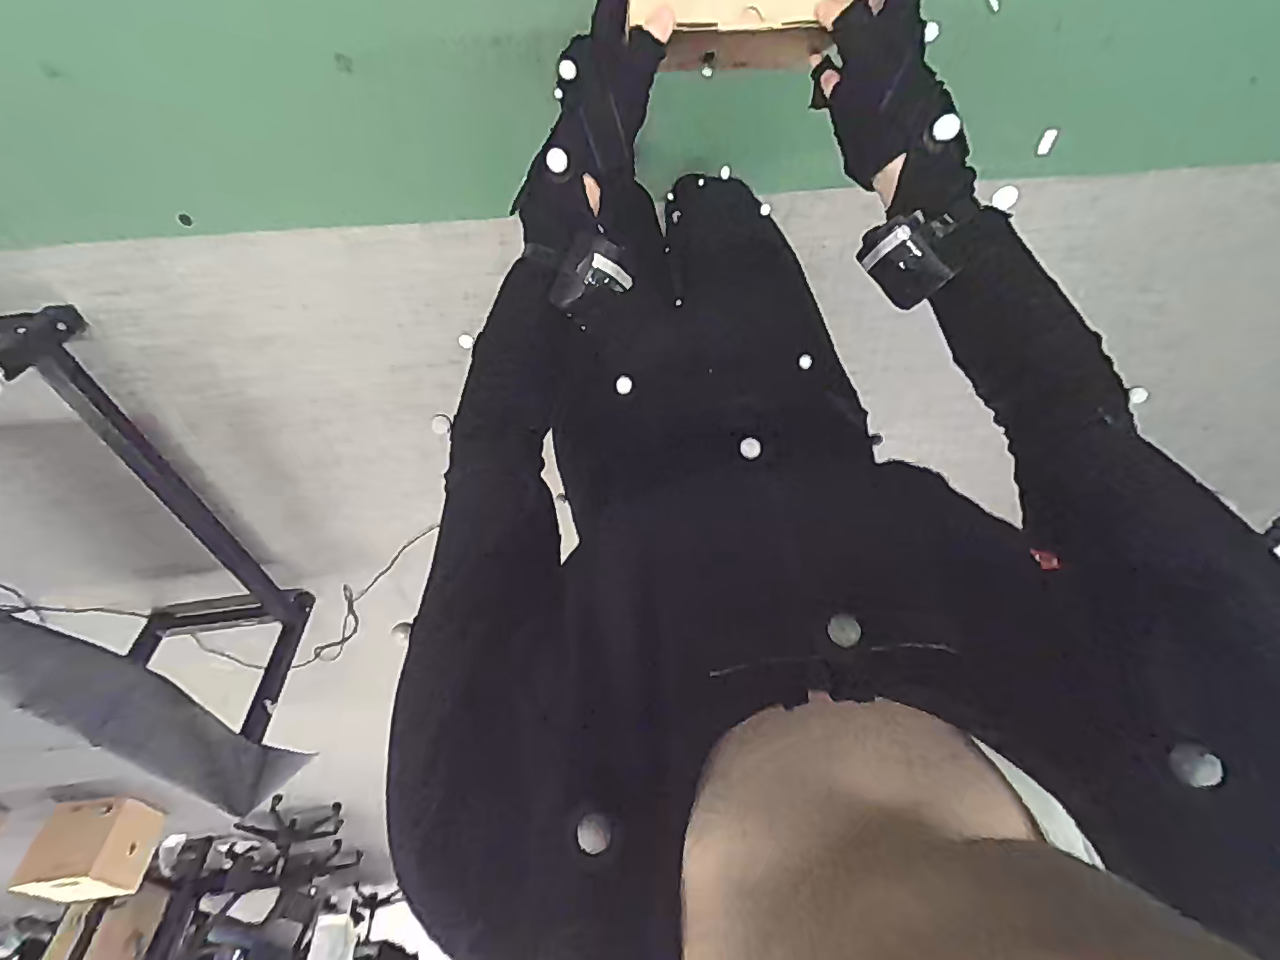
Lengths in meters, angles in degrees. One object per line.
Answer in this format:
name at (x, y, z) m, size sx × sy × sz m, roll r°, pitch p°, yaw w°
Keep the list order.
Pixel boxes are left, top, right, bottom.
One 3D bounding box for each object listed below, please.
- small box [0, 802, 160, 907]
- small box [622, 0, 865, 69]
small box at (-1.315, 0.884, 1.286) m, size 0.168 × 0.176 × 0.179 m, roll -4°, pitch 134°, yaw -5°
small box at (0.070, -0.432, 0.405) m, size 0.168 × 0.176 × 0.179 m, roll -2°, pitch 120°, yaw -2°
